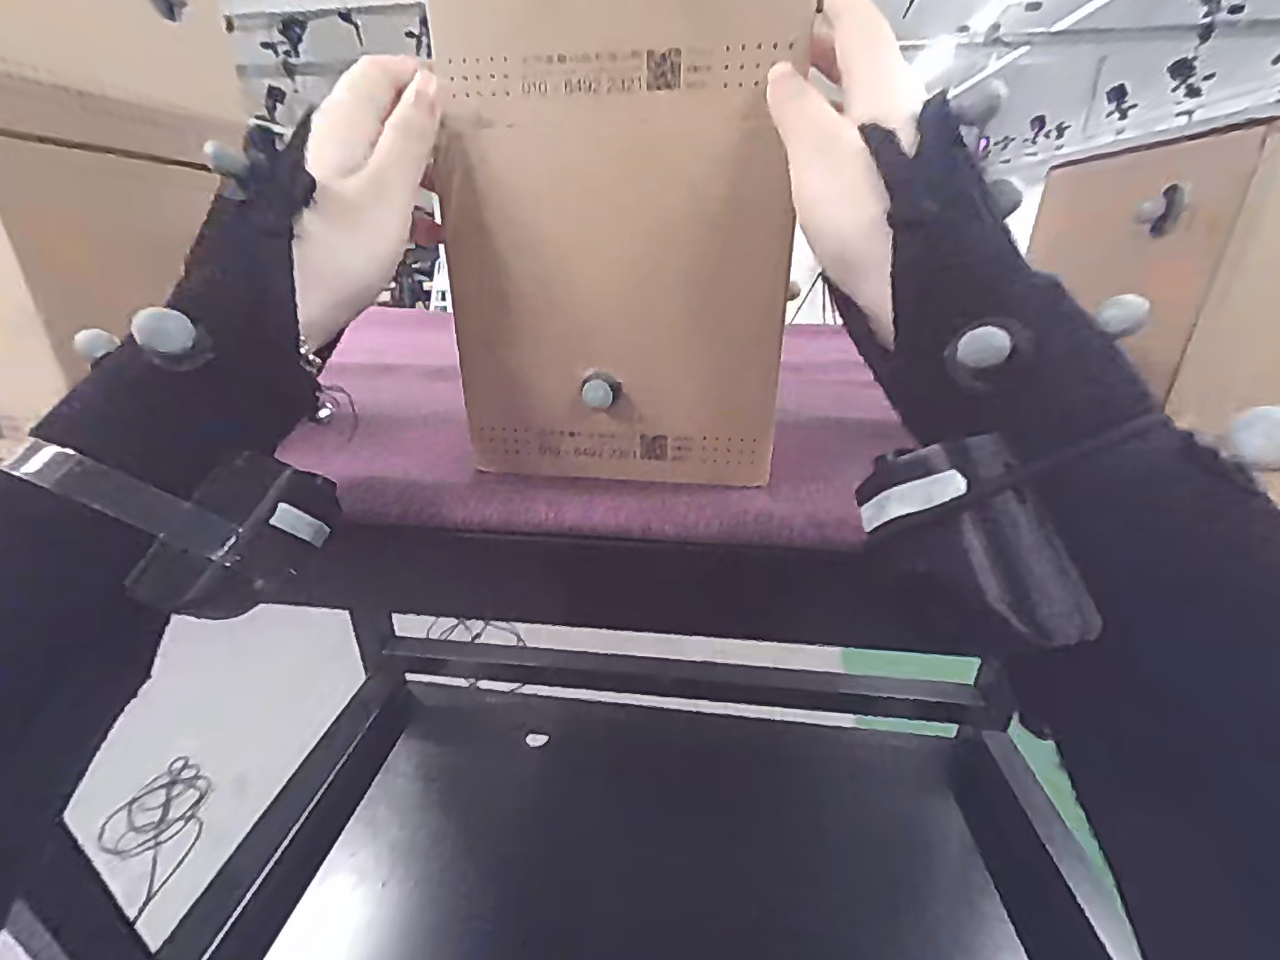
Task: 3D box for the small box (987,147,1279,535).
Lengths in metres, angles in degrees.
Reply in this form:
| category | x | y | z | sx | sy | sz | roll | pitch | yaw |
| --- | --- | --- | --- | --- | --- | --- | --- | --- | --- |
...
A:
| category | x | y | z | sx | sy | sz | roll | pitch | yaw |
| --- | --- | --- | --- | --- | --- | --- | --- | --- | --- |
| small box | 0.333 | -0.081 | 0.307 | 0.168 | 0.176 | 0.179 | 3 | 26 | 9 |

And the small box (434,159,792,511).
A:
| category | x | y | z | sx | sy | sz | roll | pitch | yaw |
| --- | --- | --- | --- | --- | --- | --- | --- | --- | --- |
| small box | -0.004 | -0.097 | 0.344 | 0.168 | 0.176 | 0.179 | 3 | 25 | 8 |

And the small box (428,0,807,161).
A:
| category | x | y | z | sx | sy | sz | roll | pitch | yaw |
| --- | --- | --- | --- | --- | --- | --- | --- | --- | --- |
| small box | -0.002 | -0.250 | 0.285 | 0.168 | 0.176 | 0.179 | 3 | 26 | 8 |

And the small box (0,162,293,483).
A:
| category | x | y | z | sx | sy | sz | roll | pitch | yaw |
| --- | --- | --- | --- | --- | --- | --- | --- | --- | --- |
| small box | -0.377 | -0.111 | 0.371 | 0.168 | 0.176 | 0.179 | 3 | 24 | 7 |

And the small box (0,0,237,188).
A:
| category | x | y | z | sx | sy | sz | roll | pitch | yaw |
| --- | --- | --- | --- | --- | --- | --- | --- | --- | --- |
| small box | -0.374 | -0.259 | 0.305 | 0.168 | 0.176 | 0.179 | 3 | 24 | 9 |
